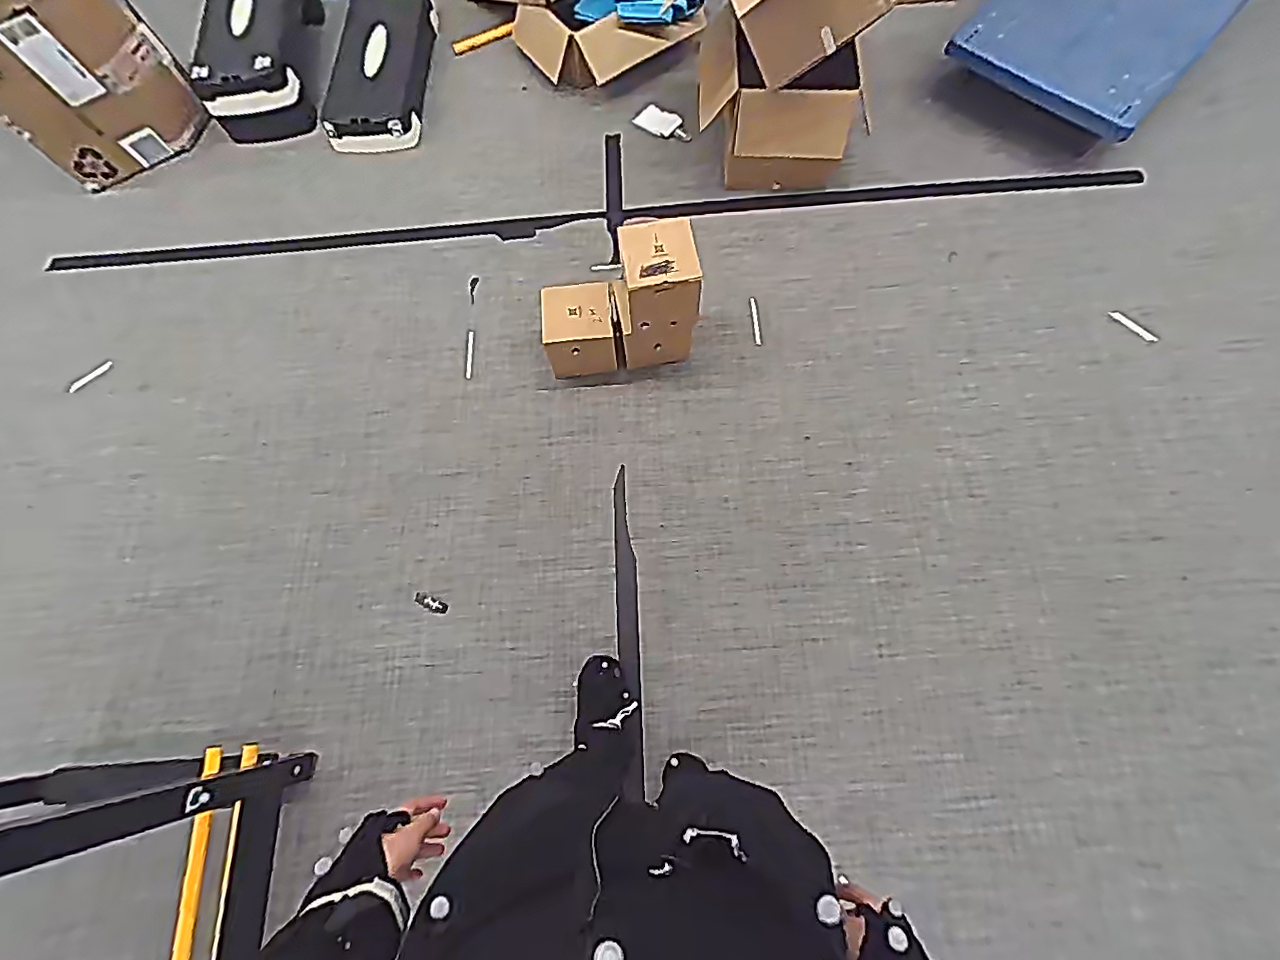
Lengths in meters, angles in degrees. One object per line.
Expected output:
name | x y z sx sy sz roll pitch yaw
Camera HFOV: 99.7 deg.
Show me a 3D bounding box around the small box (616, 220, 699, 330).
small box | 0.041 -0.470 1.271 0.168 0.176 0.179 -9 70 -1
